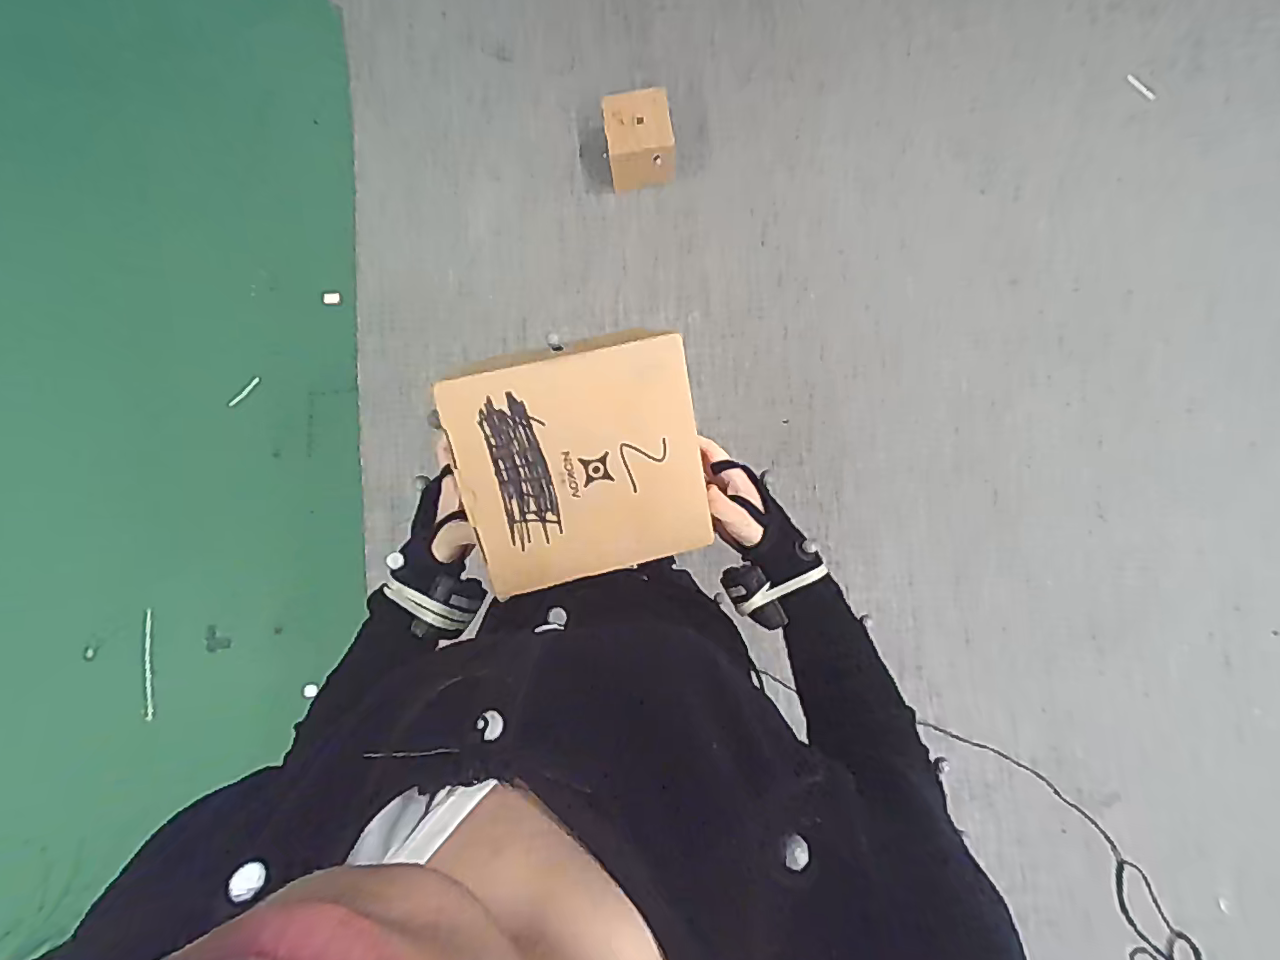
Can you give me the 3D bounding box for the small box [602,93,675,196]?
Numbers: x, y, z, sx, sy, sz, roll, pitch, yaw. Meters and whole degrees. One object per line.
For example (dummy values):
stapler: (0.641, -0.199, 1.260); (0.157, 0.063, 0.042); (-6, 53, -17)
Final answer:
small box: (-0.004, -0.922, 1.497); (0.179, 0.176, 0.168); (-9, 86, 2)
